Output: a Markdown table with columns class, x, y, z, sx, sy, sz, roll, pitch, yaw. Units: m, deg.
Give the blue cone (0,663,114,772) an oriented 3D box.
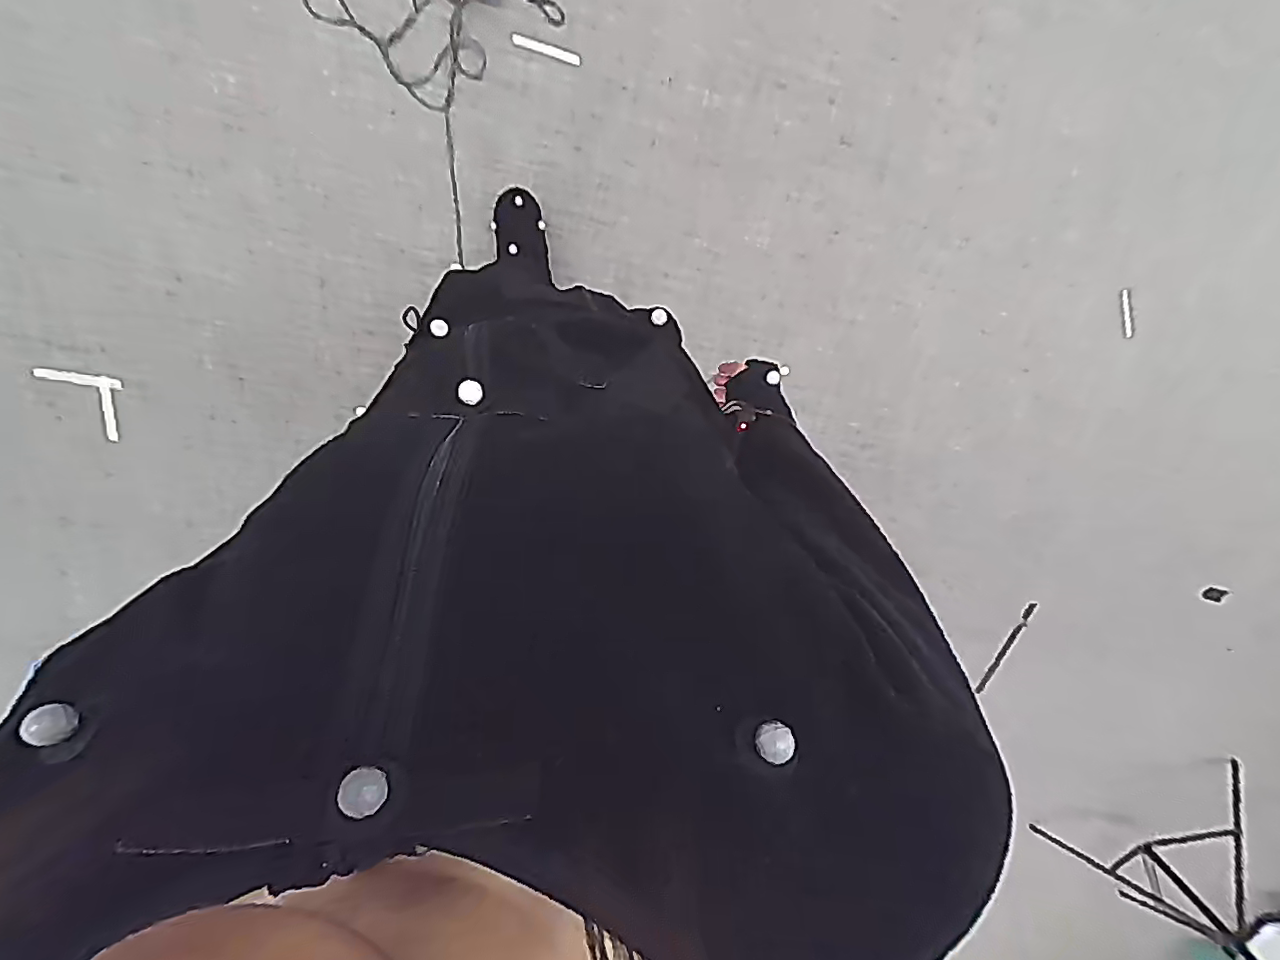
| class | x | y | z | sx | sy | sz | roll | pitch | yaw |
| --- | --- | --- | --- | --- | --- | --- | --- | --- | --- |
| blue cone | -1.588 | 0.670 | 1.388 | 0.193 | 0.380 | 0.192 | 14 | 110 | -13 |
